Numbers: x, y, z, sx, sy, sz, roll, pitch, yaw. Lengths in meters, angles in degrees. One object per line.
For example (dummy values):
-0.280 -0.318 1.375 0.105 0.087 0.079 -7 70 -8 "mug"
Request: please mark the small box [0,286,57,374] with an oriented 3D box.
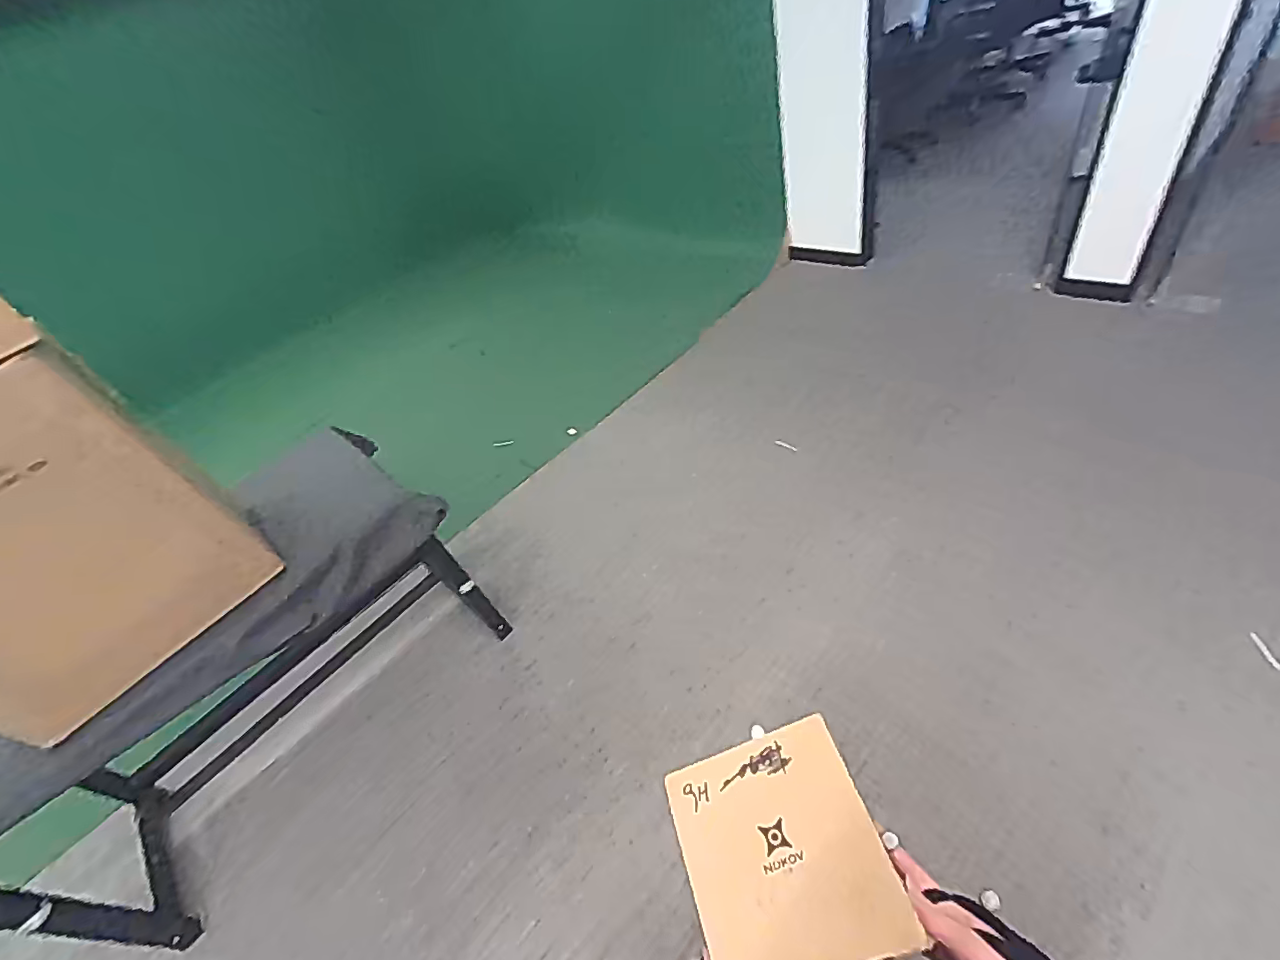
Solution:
-1.125 -0.260 0.885 0.179 0.176 0.168 18 52 35 "small box"
